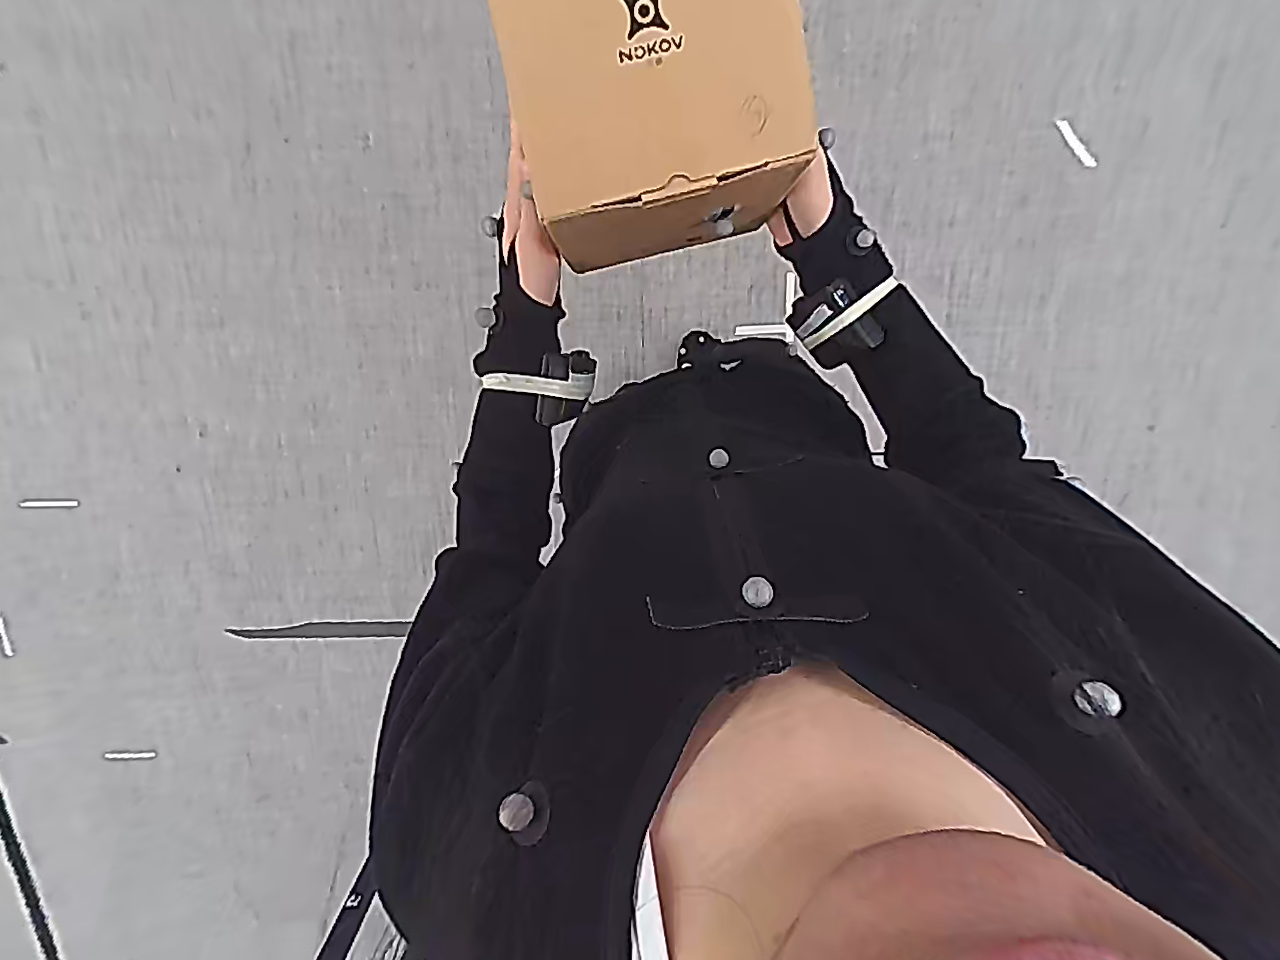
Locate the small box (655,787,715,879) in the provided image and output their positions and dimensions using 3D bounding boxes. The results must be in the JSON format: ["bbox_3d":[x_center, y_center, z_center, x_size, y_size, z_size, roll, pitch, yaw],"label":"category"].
[{"bbox_3d":[0.134,1.091,1.674,0.168,0.176,0.179,1,105,-2],"label":"small box"}]
